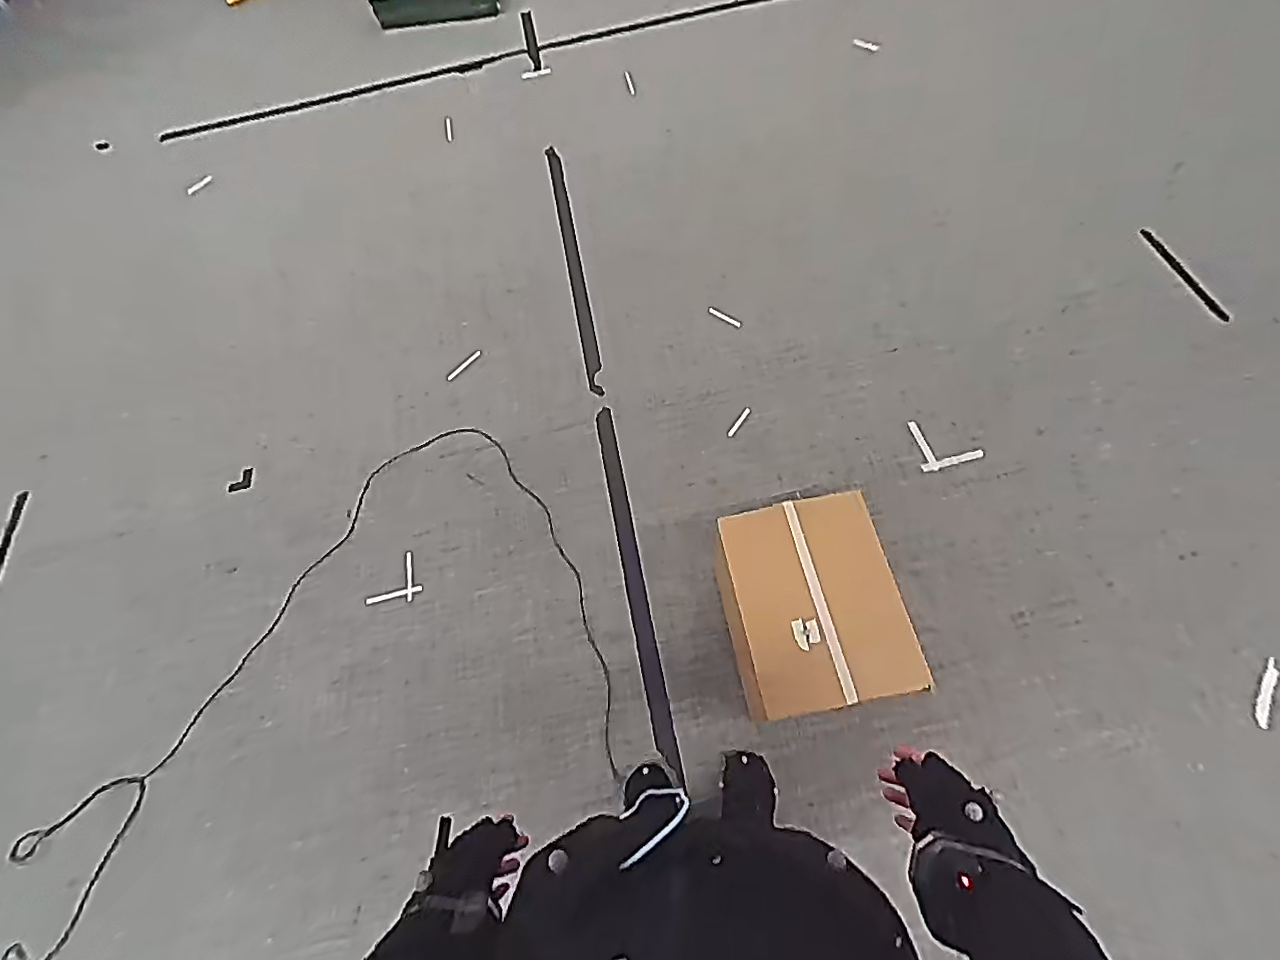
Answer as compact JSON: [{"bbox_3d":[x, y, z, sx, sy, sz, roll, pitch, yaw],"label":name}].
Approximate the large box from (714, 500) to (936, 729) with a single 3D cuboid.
[{"bbox_3d":[0.366,0.307,1.203,0.320,0.320,0.408,-12,65,1],"label":"large box"}]
